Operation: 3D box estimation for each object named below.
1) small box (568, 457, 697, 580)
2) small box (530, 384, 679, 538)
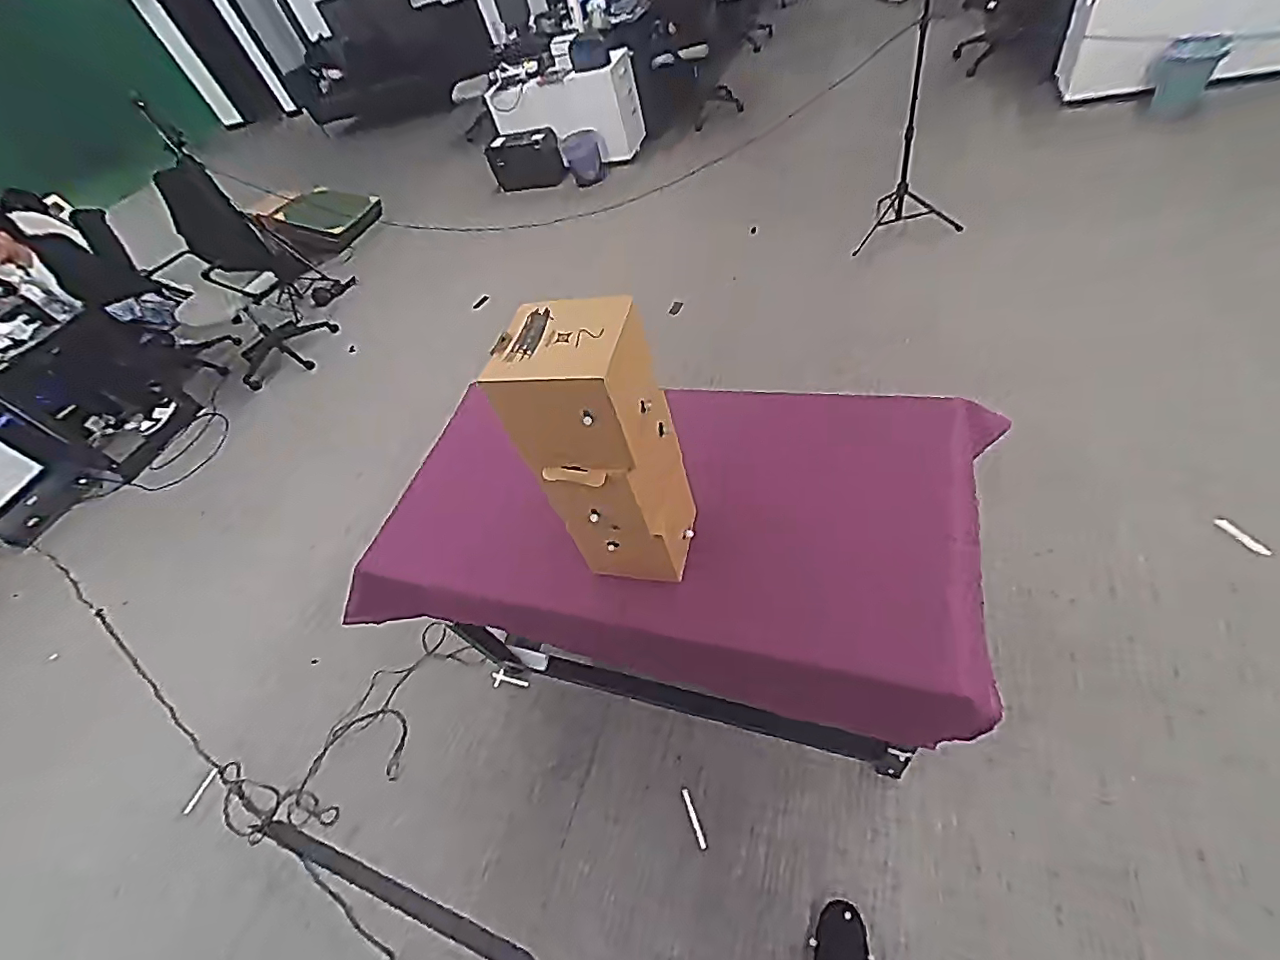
[{"bbox_3d":[-0.004,0.070,0.999,0.179,0.176,0.168,2,54,19],"label":"small box"},{"bbox_3d":[-0.045,-0.033,0.877,0.168,0.176,0.179,7,55,23],"label":"small box"}]
